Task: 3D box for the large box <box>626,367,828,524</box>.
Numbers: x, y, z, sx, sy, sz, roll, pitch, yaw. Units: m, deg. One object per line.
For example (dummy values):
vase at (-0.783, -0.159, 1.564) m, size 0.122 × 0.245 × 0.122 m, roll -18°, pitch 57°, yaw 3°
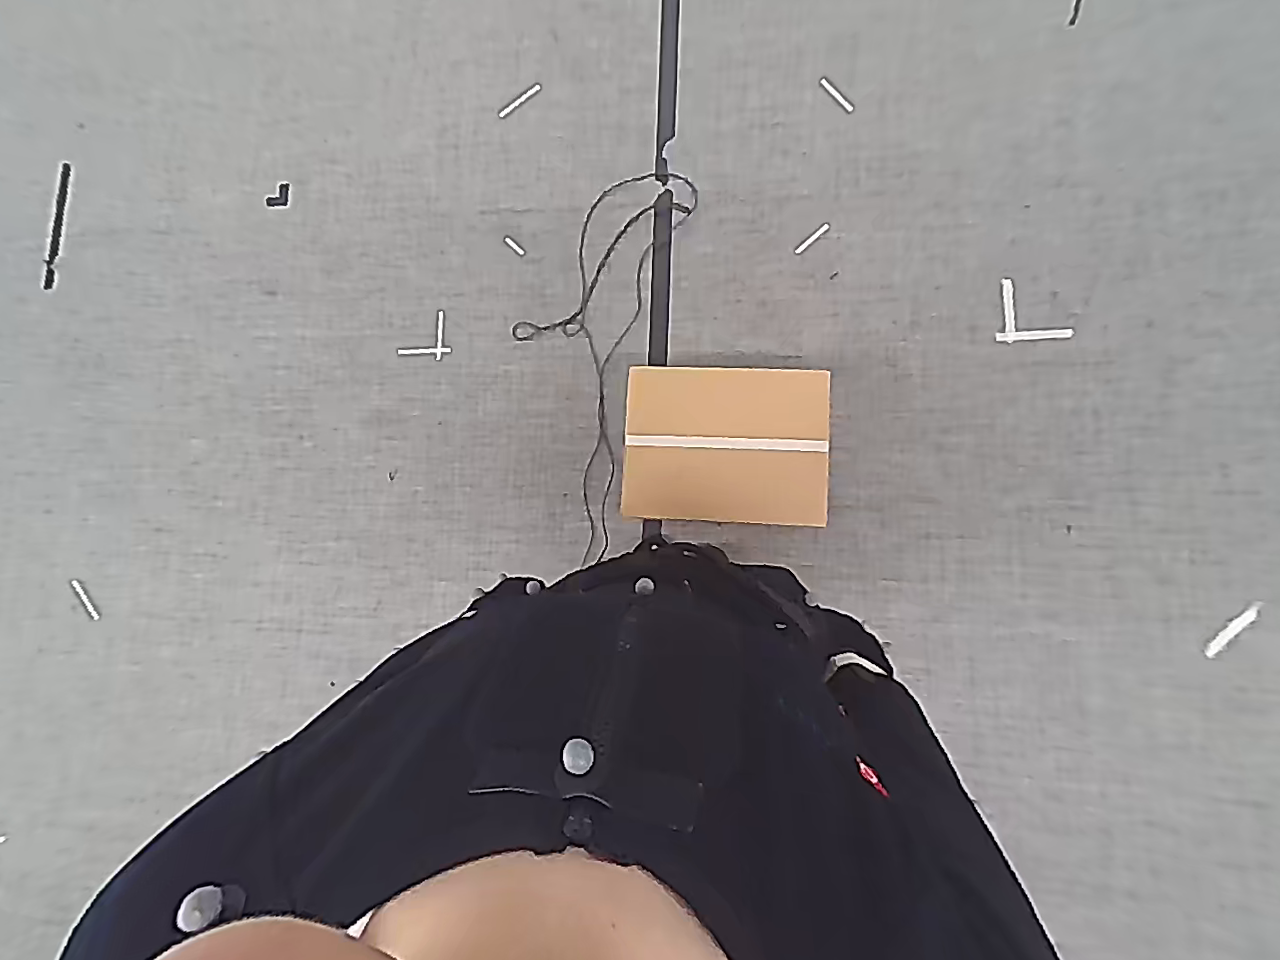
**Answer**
large box at (0.187, -0.061, 1.237) m, size 0.408 × 0.320 × 0.320 m, roll 3°, pitch 86°, yaw 7°
